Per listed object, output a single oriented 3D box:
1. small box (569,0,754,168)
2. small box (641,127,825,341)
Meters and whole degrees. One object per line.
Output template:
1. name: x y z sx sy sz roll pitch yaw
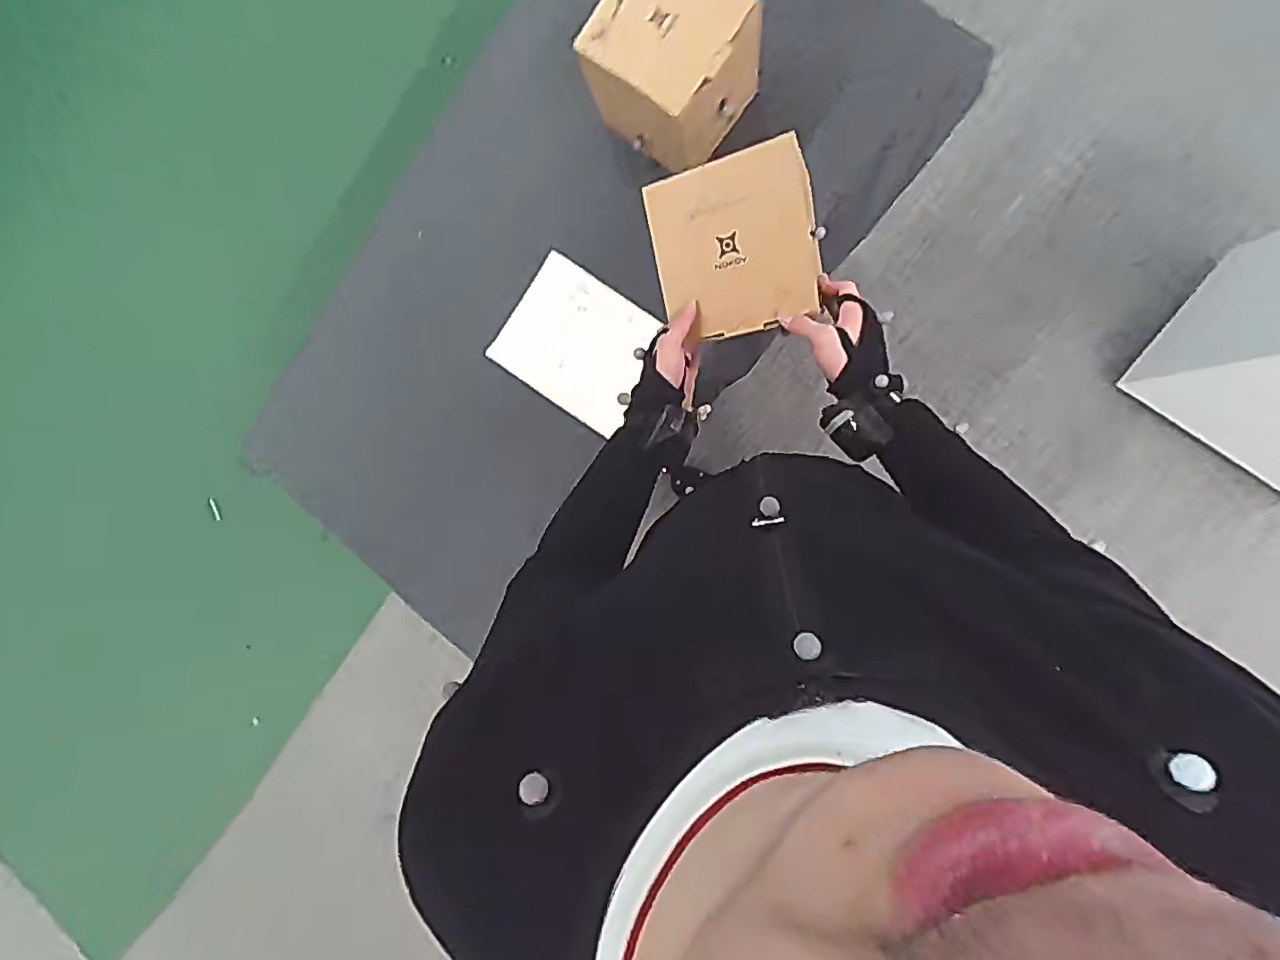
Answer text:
1. small box: 0.037 -0.574 0.748 0.179 0.176 0.168 39 98 5
2. small box: 0.120 -0.270 0.637 0.168 0.176 0.179 -7 102 23
